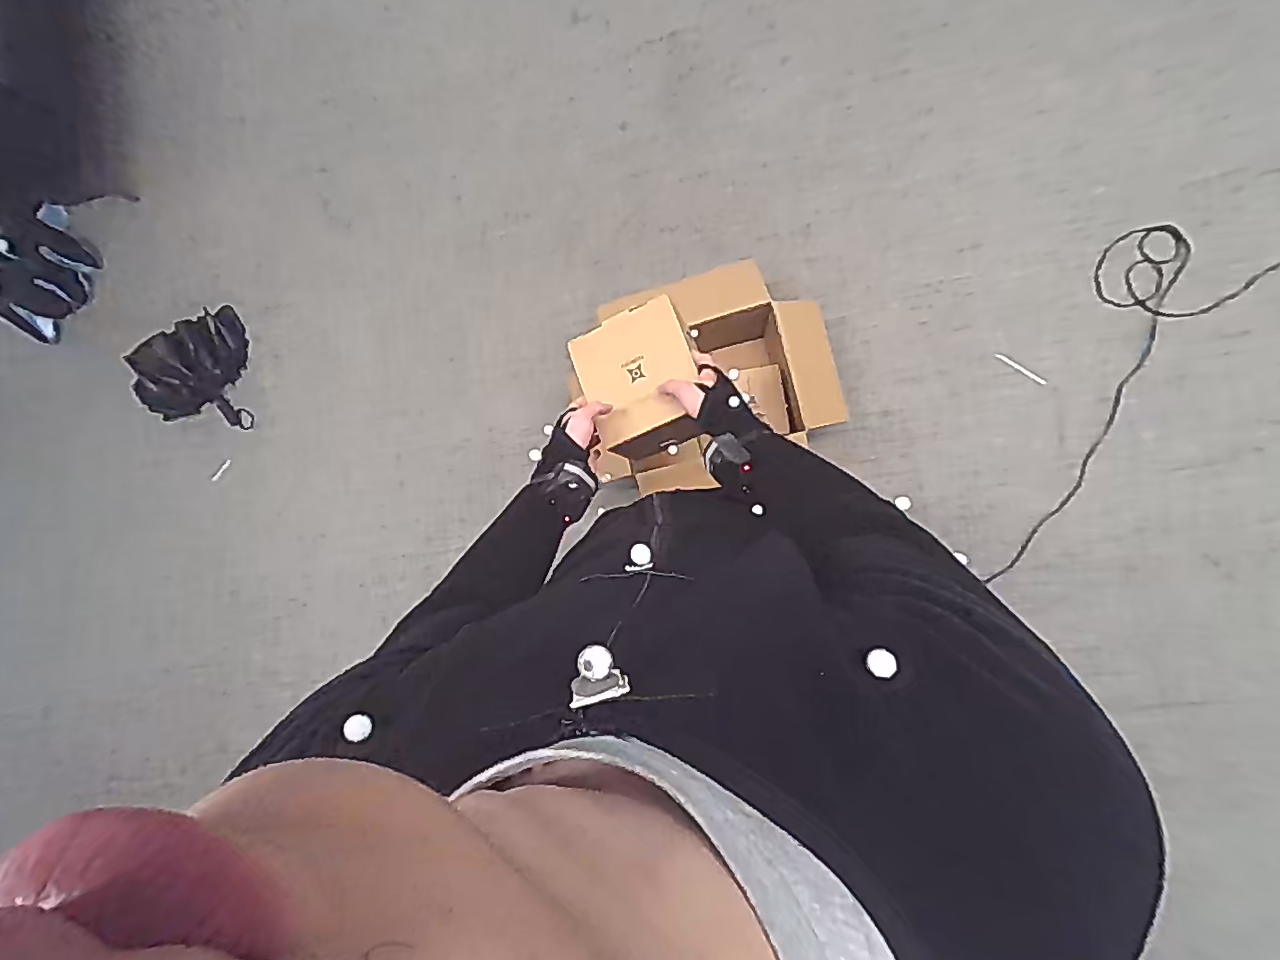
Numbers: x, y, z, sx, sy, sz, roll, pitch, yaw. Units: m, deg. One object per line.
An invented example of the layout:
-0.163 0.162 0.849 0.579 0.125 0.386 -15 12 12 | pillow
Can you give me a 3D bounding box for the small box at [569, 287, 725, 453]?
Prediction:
0.018 -0.156 0.833 0.168 0.176 0.179 -23 80 15 | small box
